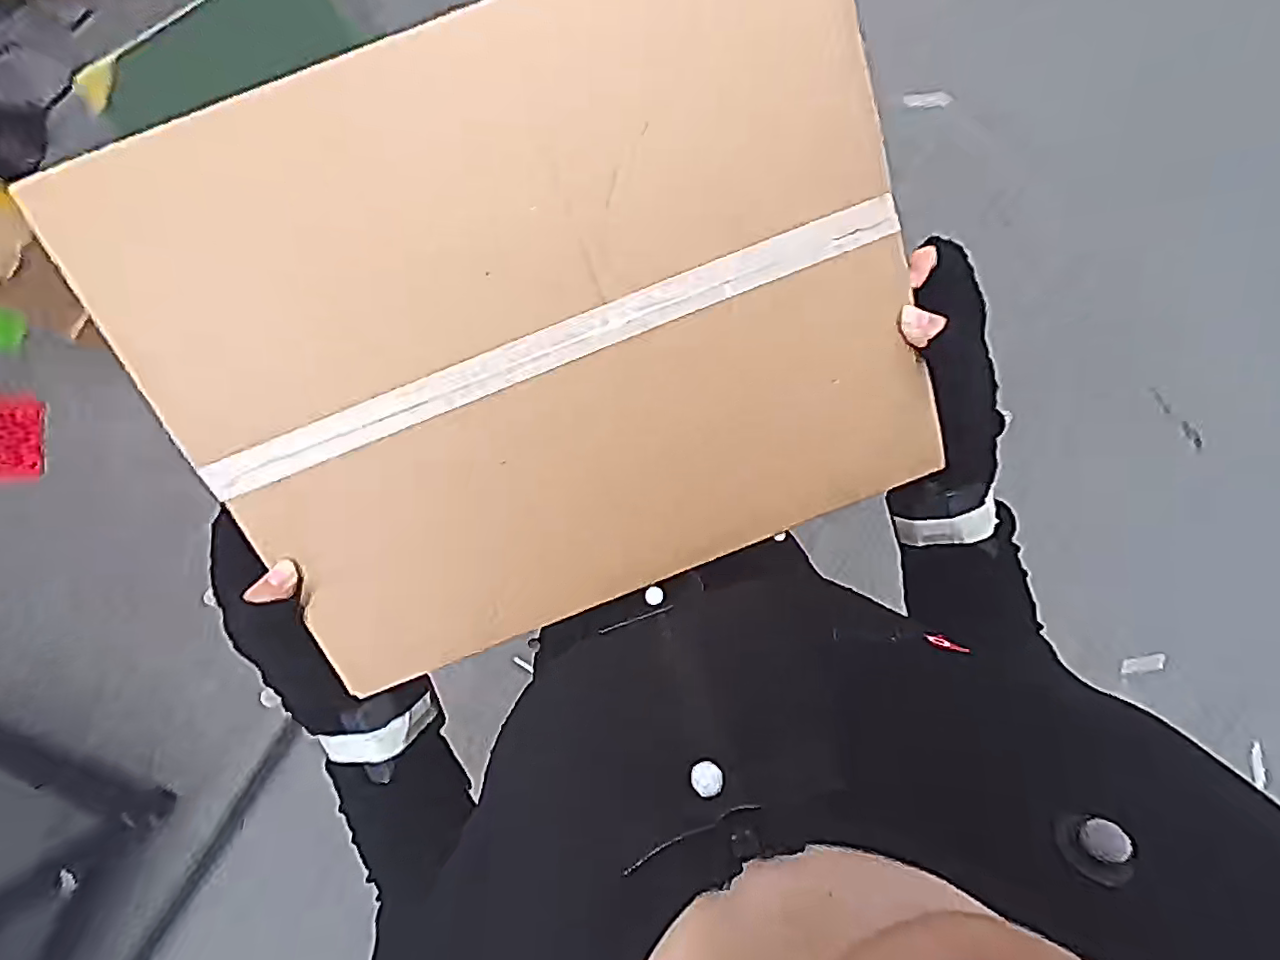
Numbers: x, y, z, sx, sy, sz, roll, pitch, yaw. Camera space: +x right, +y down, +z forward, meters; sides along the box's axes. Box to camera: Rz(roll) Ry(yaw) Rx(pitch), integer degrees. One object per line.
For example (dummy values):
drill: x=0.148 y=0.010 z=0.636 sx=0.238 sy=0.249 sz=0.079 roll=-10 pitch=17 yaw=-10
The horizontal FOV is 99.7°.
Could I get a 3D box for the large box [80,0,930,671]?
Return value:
large box: x=-0.061 y=-0.120 z=0.451 sx=0.408 sy=0.320 sz=0.320 roll=-21 pitch=109 yaw=0
